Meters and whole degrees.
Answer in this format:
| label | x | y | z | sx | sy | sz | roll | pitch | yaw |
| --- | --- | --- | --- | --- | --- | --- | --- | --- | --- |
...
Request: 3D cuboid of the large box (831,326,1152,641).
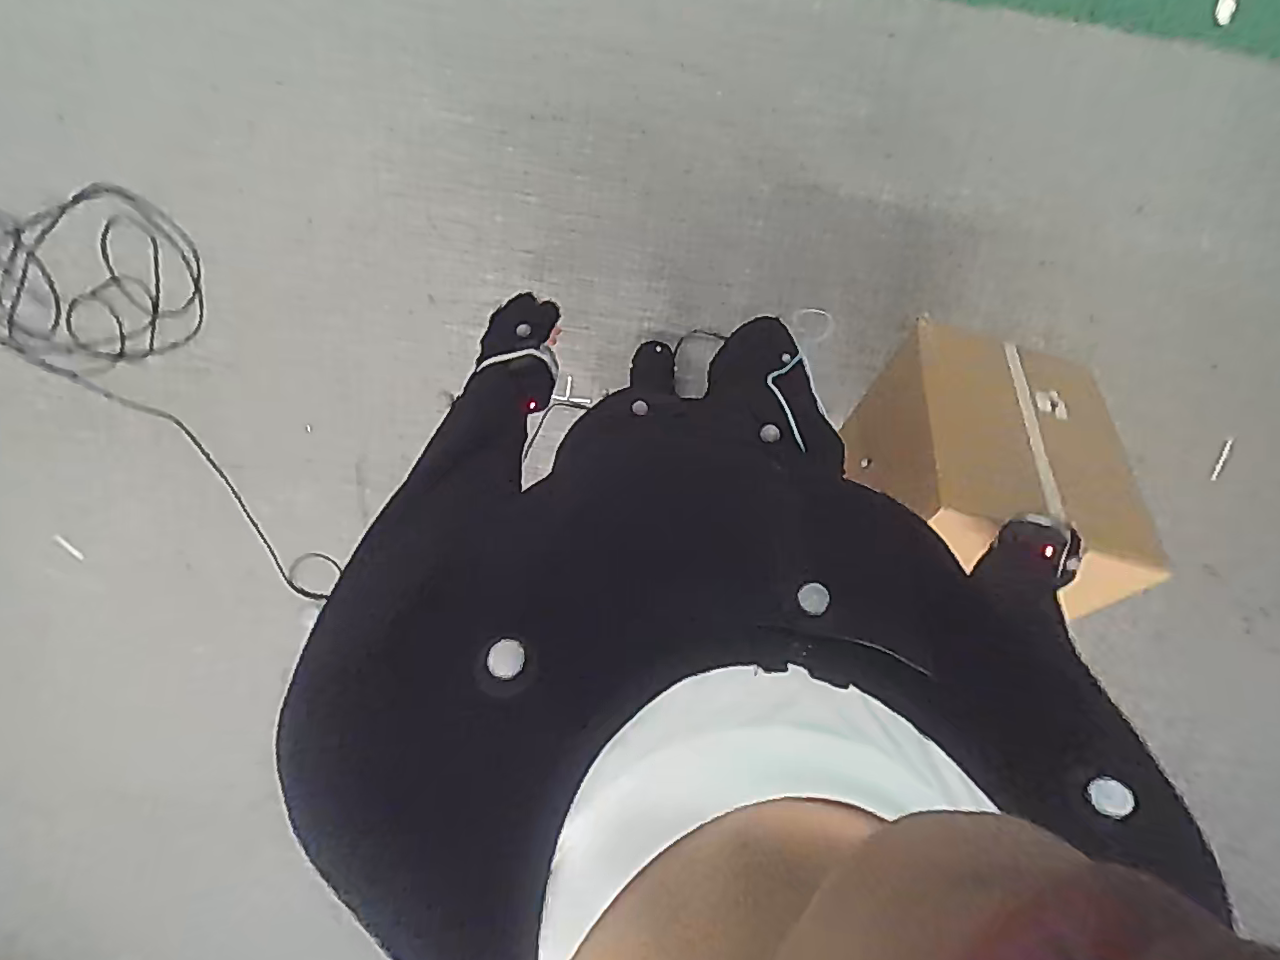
| label | x | y | z | sx | sy | sz | roll | pitch | yaw |
| --- | --- | --- | --- | --- | --- | --- | --- | --- | --- |
| large box | 0.544 | 0.010 | 0.943 | 0.320 | 0.408 | 0.320 | 17 | 143 | -1 |
